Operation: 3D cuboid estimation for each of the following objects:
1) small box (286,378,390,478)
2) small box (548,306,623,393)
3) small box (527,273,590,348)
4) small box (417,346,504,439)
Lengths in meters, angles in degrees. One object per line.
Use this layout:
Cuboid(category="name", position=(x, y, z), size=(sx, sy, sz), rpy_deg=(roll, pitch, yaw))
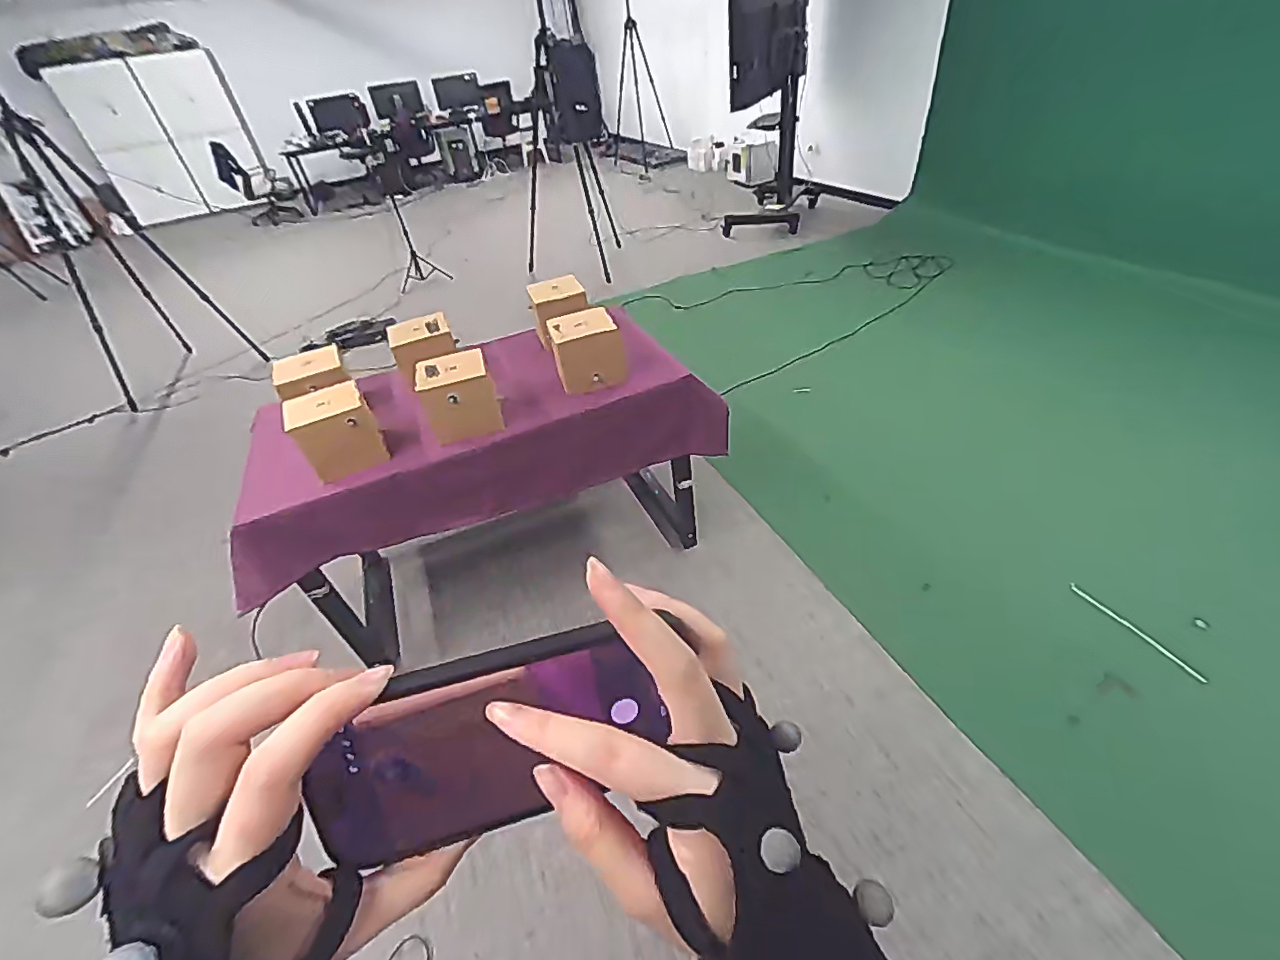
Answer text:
Cuboid(category="small box", position=(-0.765, -0.131, 1.374), size=(0.179, 0.176, 0.168), rpy_deg=(-24, 42, -19))
Cuboid(category="small box", position=(-0.152, -0.373, 1.550), size=(0.179, 0.176, 0.168), rpy_deg=(-15, 41, -9))
Cuboid(category="small box", position=(-0.262, -0.556, 1.780), size=(0.168, 0.176, 0.179), rpy_deg=(-18, 42, -11))
Cuboid(category="small box", position=(-0.475, -0.229, 1.437), size=(0.179, 0.176, 0.168), rpy_deg=(-16, 41, -10))
